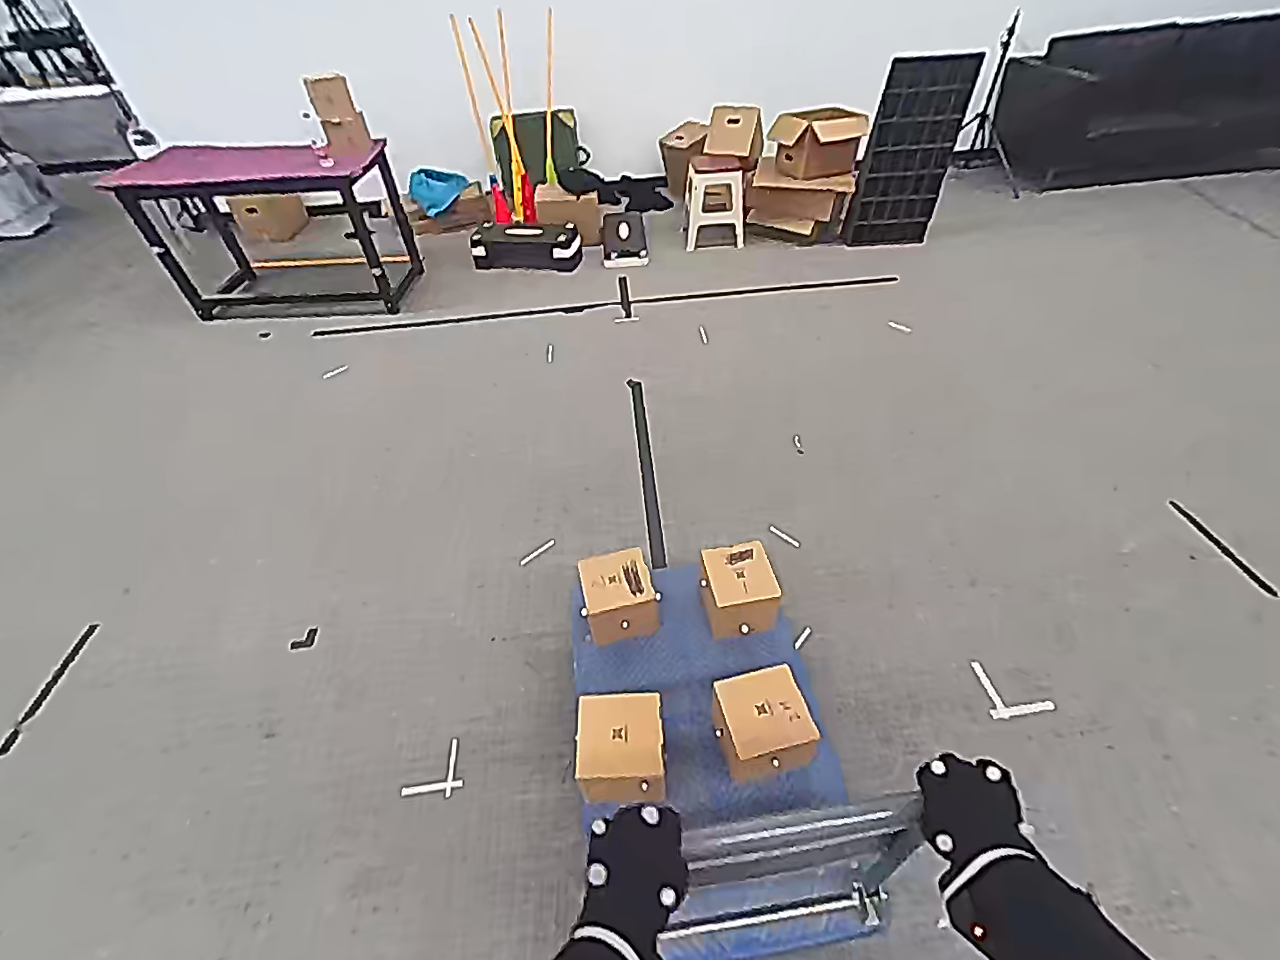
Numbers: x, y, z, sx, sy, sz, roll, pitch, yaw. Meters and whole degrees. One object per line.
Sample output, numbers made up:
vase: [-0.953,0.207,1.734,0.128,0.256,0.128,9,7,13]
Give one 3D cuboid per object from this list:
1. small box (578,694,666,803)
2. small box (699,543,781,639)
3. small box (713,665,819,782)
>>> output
small box: [-0.036,0.584,1.172,0.179,0.176,0.168,-3,44,-1]
small box: [0.257,0.296,1.438,0.168,0.176,0.179,-9,46,-5]
small box: [0.267,0.540,1.194,0.179,0.176,0.168,-12,46,-7]
